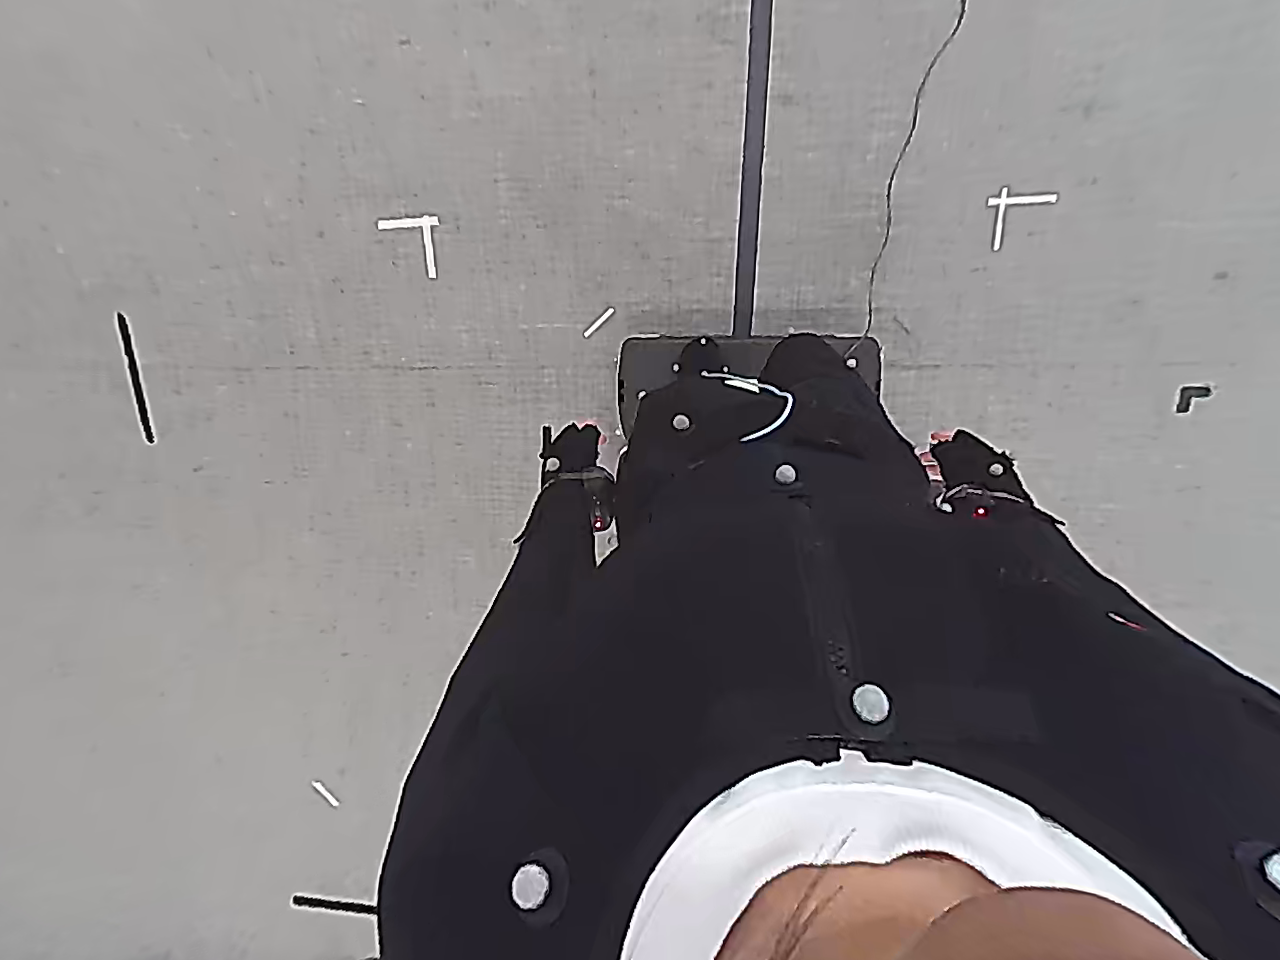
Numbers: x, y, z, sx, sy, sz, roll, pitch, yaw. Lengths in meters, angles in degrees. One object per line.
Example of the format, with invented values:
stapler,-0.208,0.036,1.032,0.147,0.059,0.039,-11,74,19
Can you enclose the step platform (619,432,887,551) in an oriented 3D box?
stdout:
step platform,0.285,0.025,1.442,0.684,0.204,0.286,1,103,7
